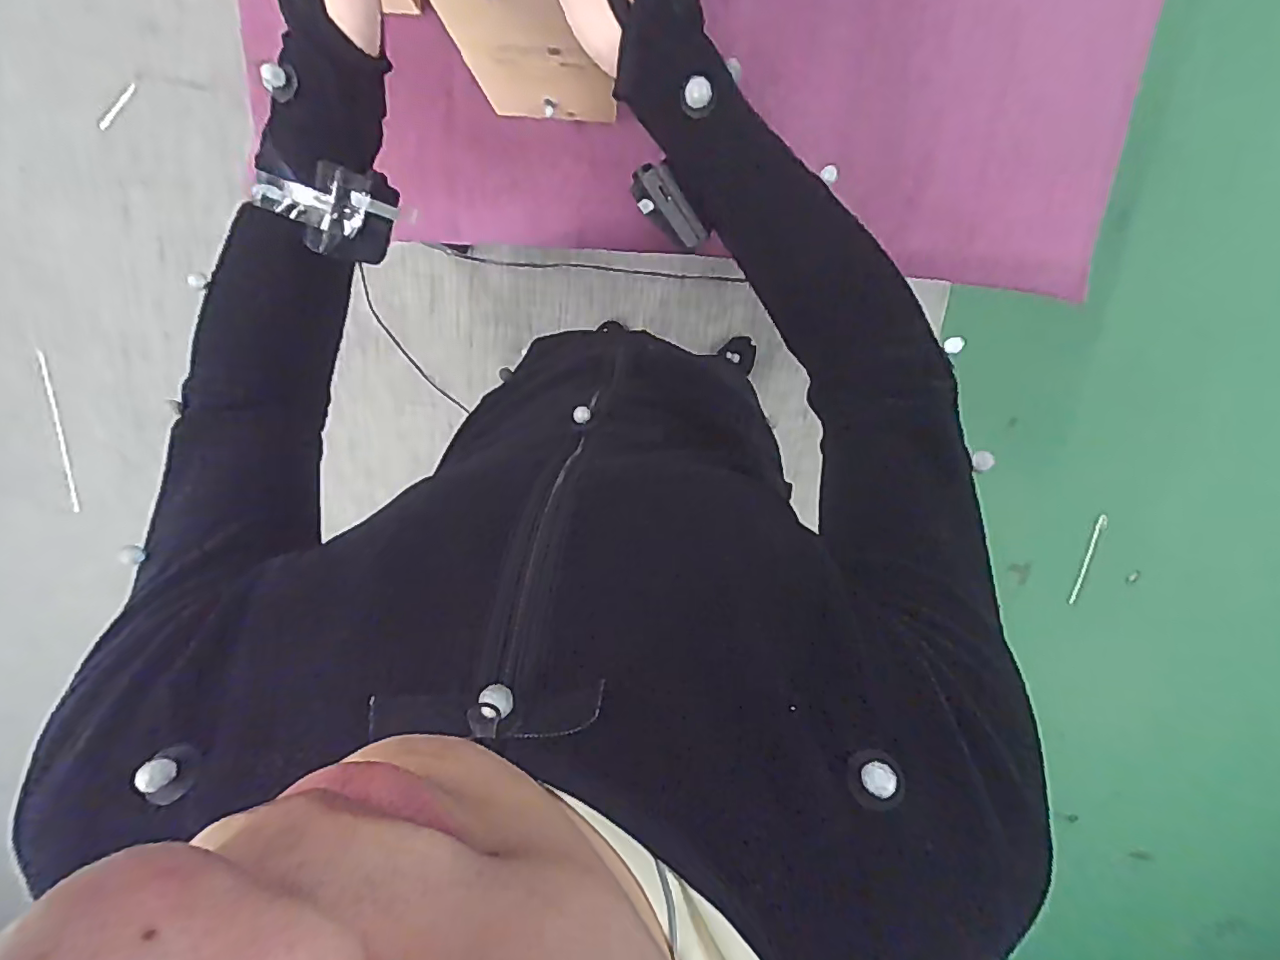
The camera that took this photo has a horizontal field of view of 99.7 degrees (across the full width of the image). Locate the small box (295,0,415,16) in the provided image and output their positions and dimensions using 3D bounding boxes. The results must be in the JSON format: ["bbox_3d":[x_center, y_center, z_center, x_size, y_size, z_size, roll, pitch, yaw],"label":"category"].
[{"bbox_3d":[-0.368,-0.672,0.604,0.168,0.176,0.179,1,107,-2],"label":"small box"}]

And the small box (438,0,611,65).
[{"bbox_3d":[-0.108,-0.518,0.484,0.168,0.176,0.179,2,105,-2],"label":"small box"}]

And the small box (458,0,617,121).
[{"bbox_3d":[-0.113,-0.562,0.643,0.168,0.176,0.179,3,106,-2],"label":"small box"}]
